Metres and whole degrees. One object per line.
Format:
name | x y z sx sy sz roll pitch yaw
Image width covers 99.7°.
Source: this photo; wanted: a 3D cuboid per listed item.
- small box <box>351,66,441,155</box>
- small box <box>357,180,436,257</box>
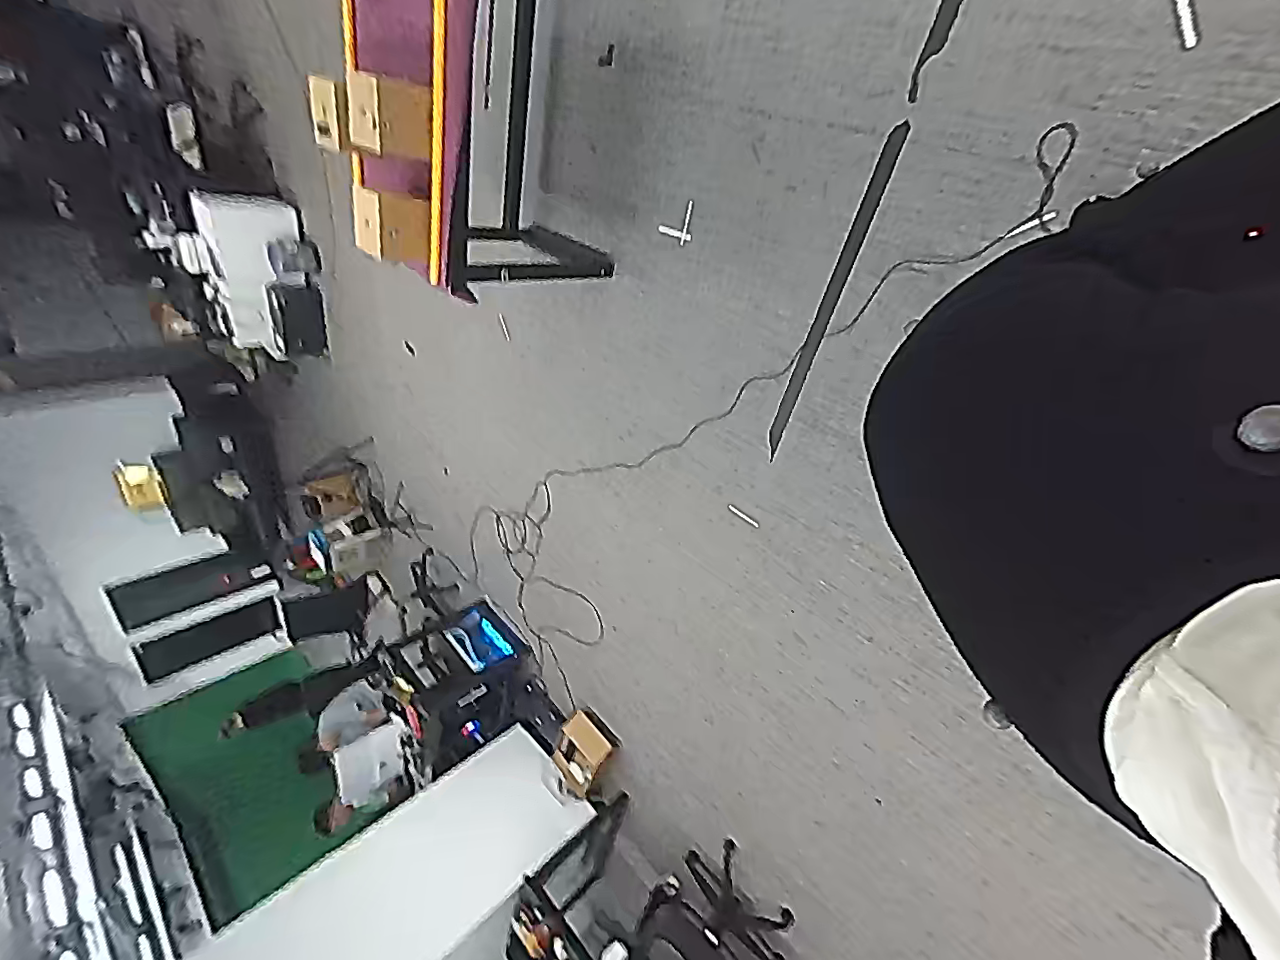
small box | -0.670 -1.014 1.491 0.179 0.176 0.168 36 129 30
small box | -0.737 -0.792 1.649 0.168 0.176 0.179 36 128 31
